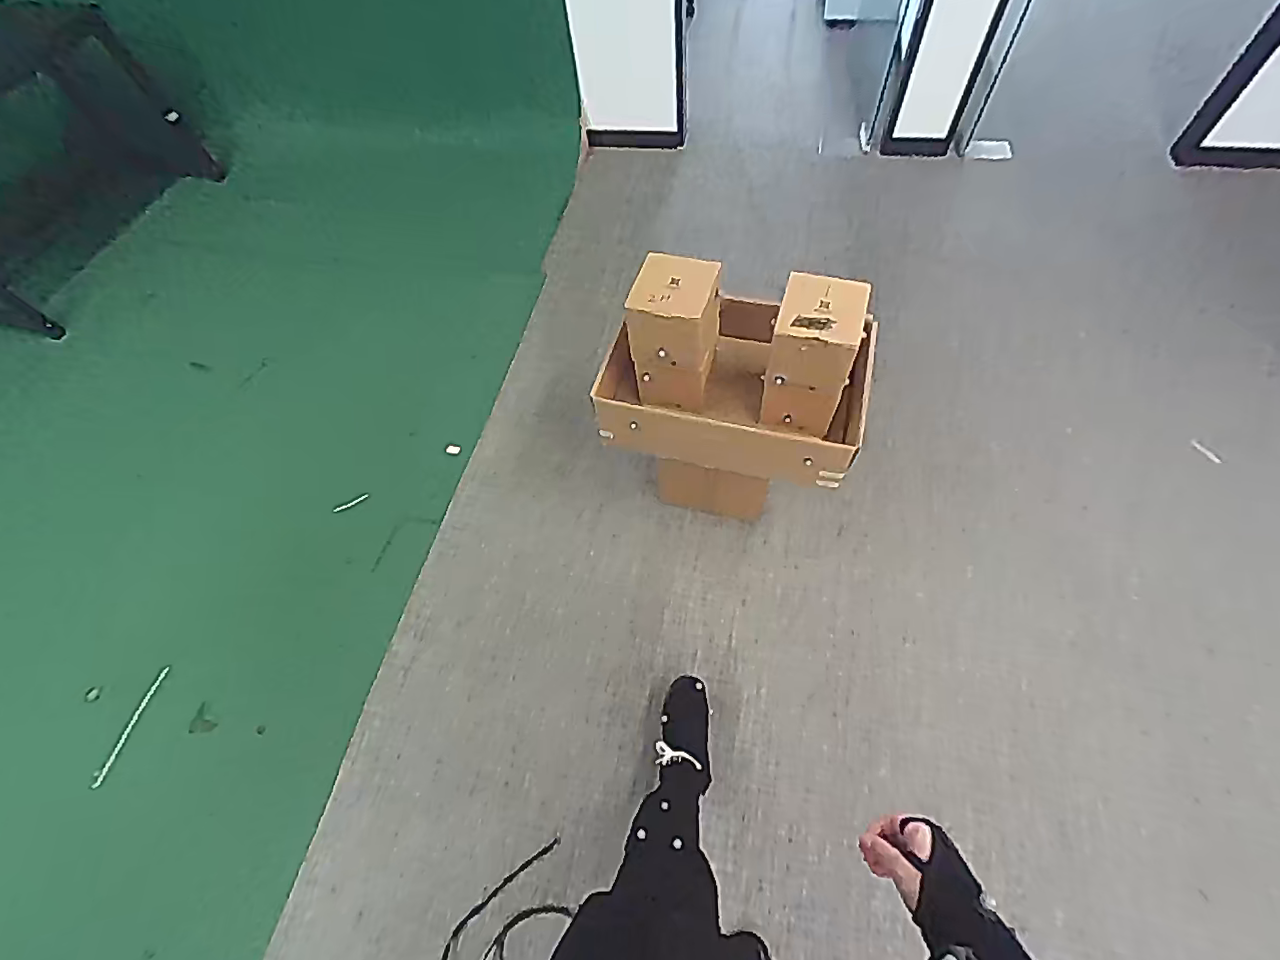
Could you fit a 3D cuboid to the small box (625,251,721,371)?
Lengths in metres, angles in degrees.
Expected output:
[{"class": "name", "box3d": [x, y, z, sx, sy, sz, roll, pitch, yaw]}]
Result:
[{"class": "small box", "box3d": [0.077, -0.375, 1.206, 0.168, 0.176, 0.179, 14, 64, 14]}]

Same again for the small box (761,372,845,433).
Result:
[{"class": "small box", "box3d": [0.389, -0.239, 1.287, 0.168, 0.176, 0.179, 12, 65, 12]}]

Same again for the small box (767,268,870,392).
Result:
[{"class": "small box", "box3d": [0.369, -0.311, 1.140, 0.168, 0.176, 0.179, 14, 64, 13]}]
